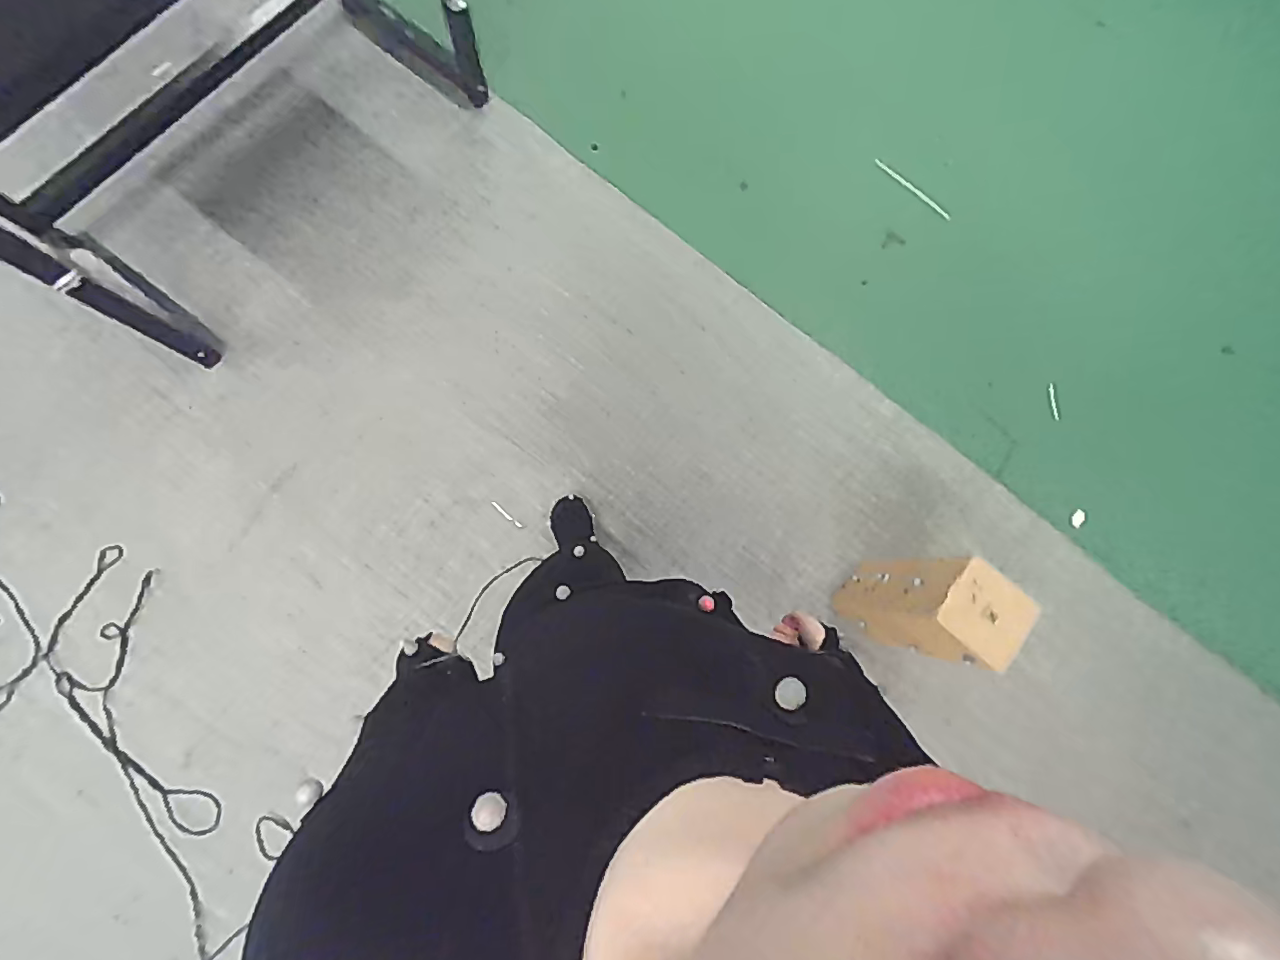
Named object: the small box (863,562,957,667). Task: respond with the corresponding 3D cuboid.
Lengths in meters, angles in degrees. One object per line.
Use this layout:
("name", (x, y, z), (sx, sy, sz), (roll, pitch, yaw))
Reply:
("small box", (0.677, 0.313, 1.286), (0.179, 0.176, 0.168), (40, 79, 4))

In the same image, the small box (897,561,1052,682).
("small box", (0.685, 0.284, 1.124), (0.179, 0.176, 0.168), (40, 78, 3))

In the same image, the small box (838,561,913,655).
("small box", (0.668, 0.339, 1.447), (0.179, 0.176, 0.168), (43, 80, 4))
